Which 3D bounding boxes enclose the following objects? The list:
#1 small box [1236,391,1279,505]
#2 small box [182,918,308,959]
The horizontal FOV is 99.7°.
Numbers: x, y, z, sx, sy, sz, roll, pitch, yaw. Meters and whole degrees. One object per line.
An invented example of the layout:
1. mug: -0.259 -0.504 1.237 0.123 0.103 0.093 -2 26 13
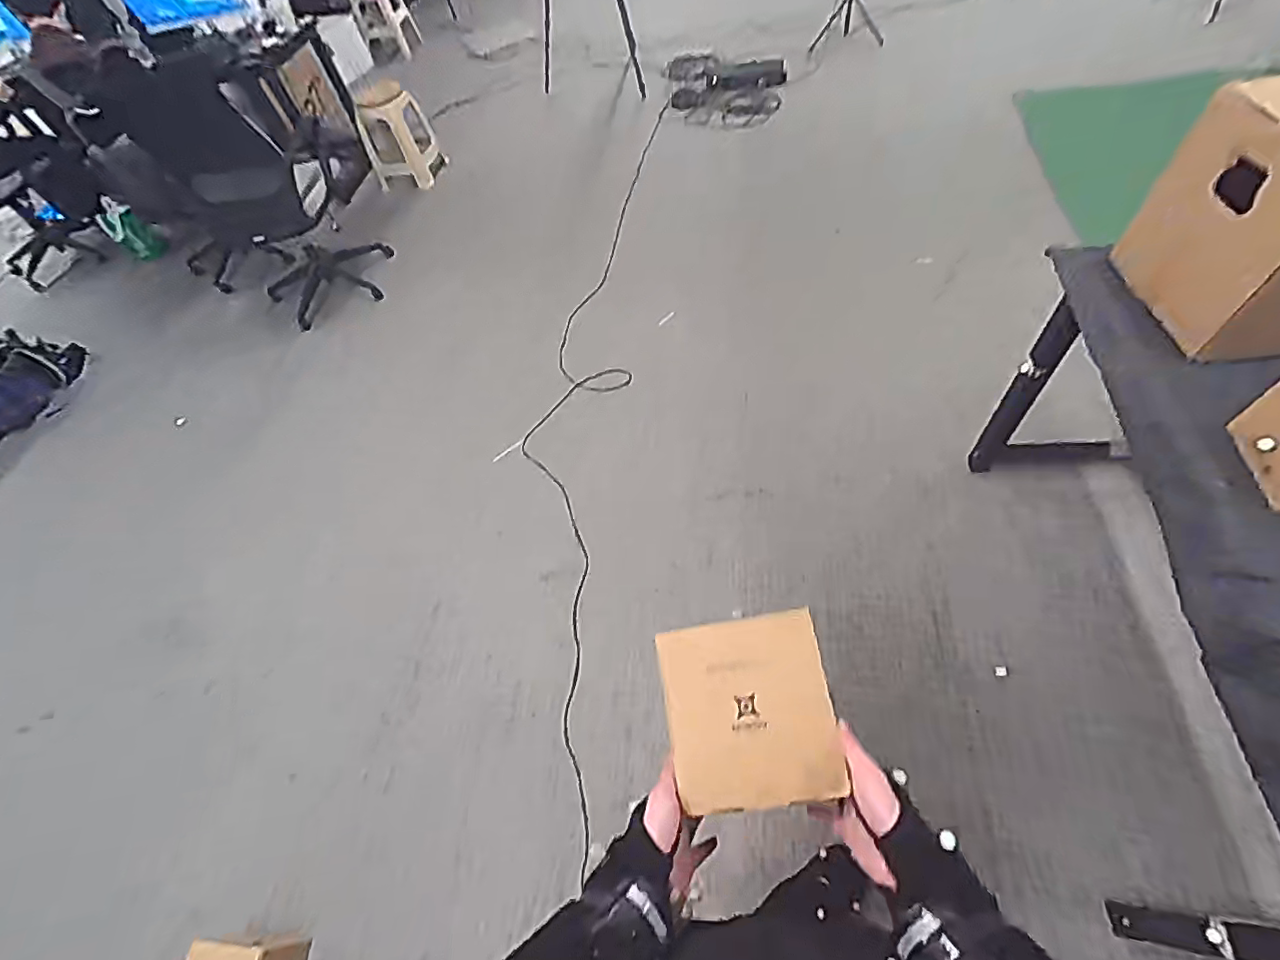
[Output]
1. small box: 0.991 -0.063 0.724 0.179 0.176 0.168 3 59 11
2. small box: -0.879 1.086 1.187 0.179 0.176 0.168 -1 59 8
